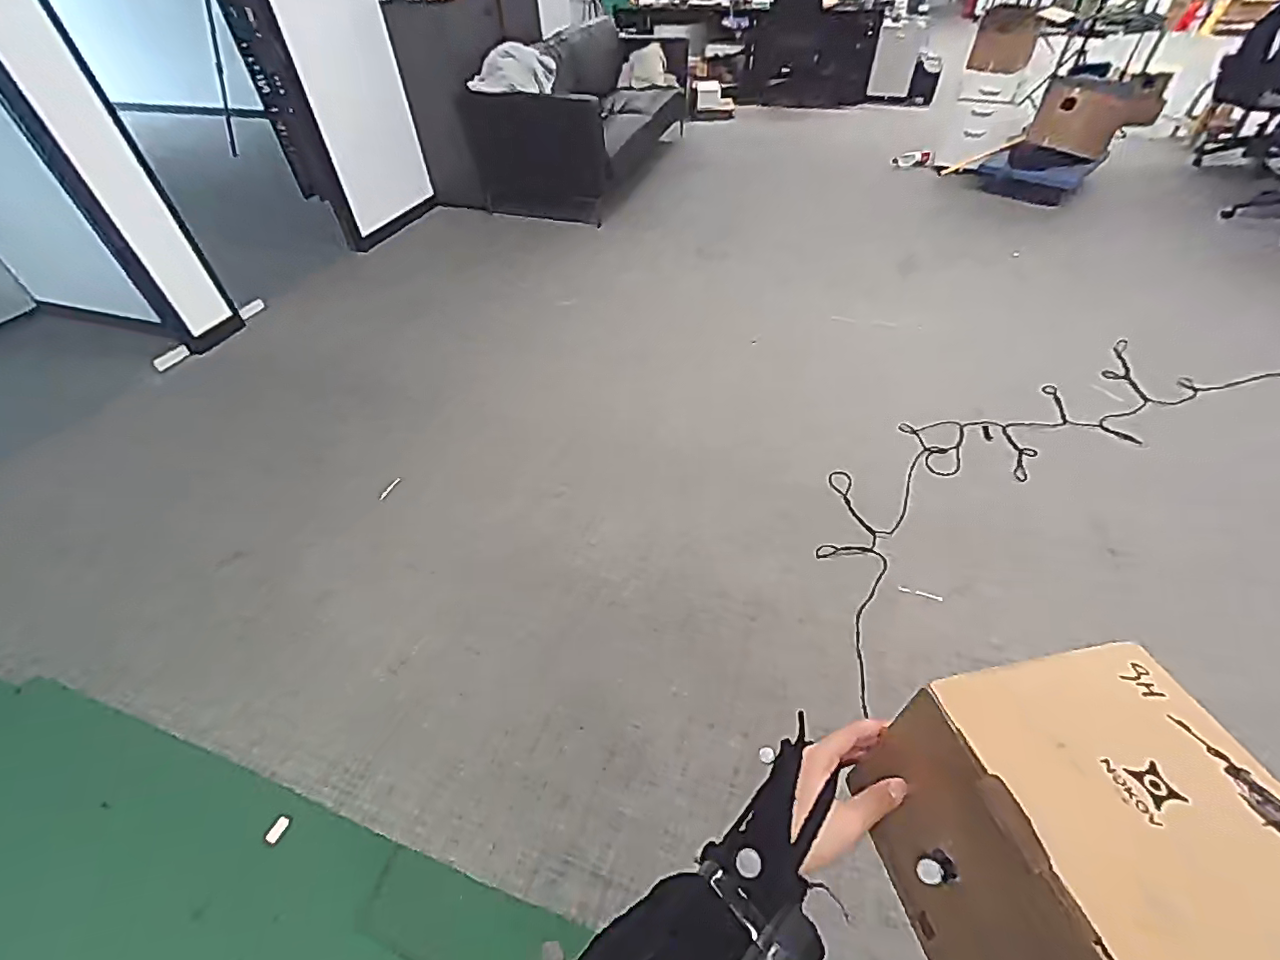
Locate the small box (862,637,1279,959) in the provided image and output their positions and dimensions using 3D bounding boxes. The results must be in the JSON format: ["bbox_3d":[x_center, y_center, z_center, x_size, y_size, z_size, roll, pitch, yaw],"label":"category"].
[{"bbox_3d":[0.278,0.236,0.369,0.179,0.176,0.168,-6,42,-12],"label":"small box"}]
